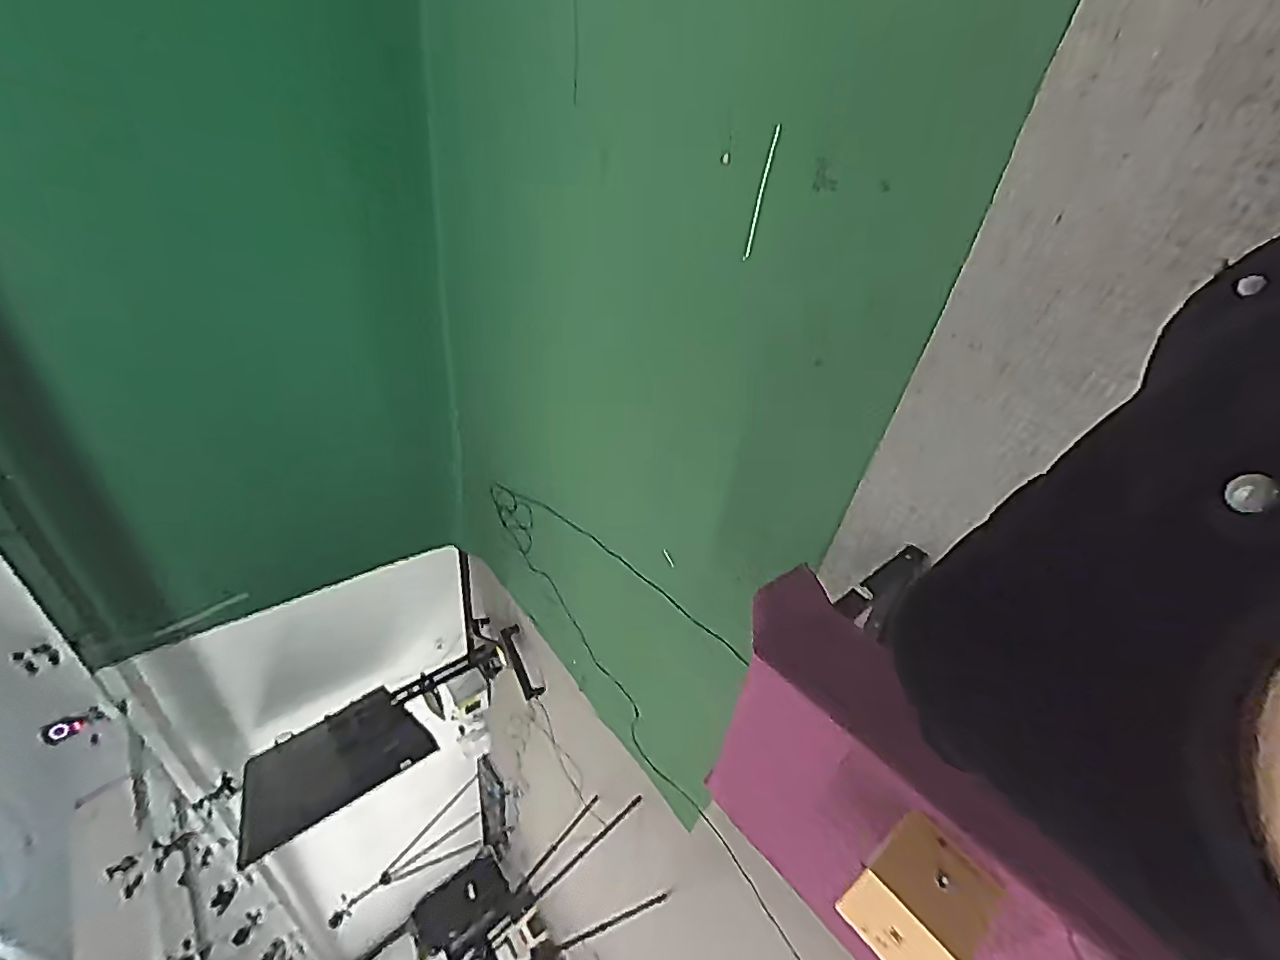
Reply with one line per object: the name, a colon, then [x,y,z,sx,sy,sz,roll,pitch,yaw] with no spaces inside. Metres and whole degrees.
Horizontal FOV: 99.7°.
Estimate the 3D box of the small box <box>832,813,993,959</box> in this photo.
small box: [0.475,0.729,0.940,0.168,0.176,0.179,39,134,35]
